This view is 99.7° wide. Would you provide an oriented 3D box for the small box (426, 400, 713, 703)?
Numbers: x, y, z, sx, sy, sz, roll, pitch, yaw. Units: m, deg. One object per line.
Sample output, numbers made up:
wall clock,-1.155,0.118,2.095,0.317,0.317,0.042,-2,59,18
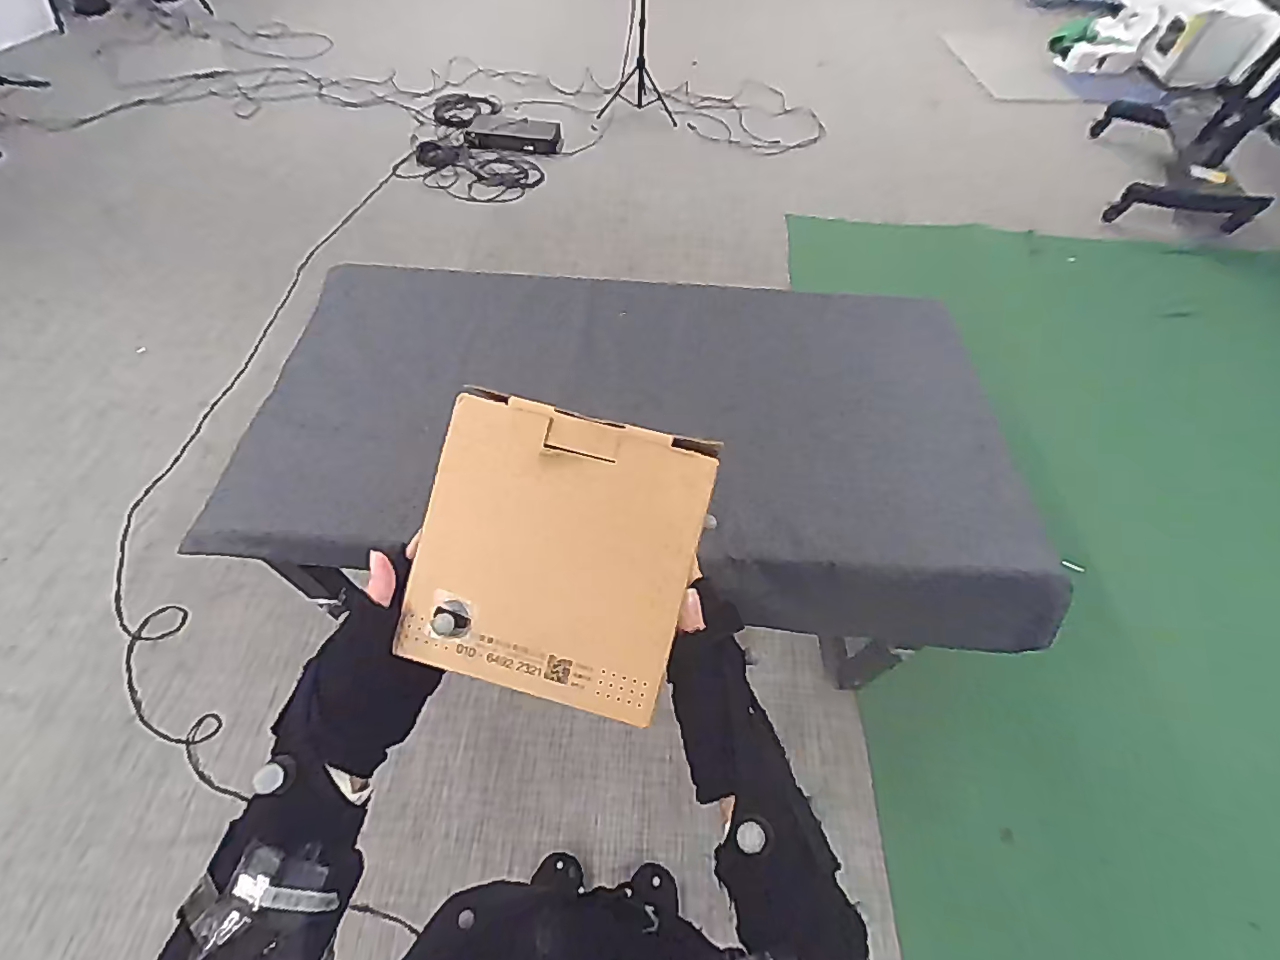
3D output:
small box,-0.046,0.049,0.424,0.168,0.179,0.176,15,90,4
